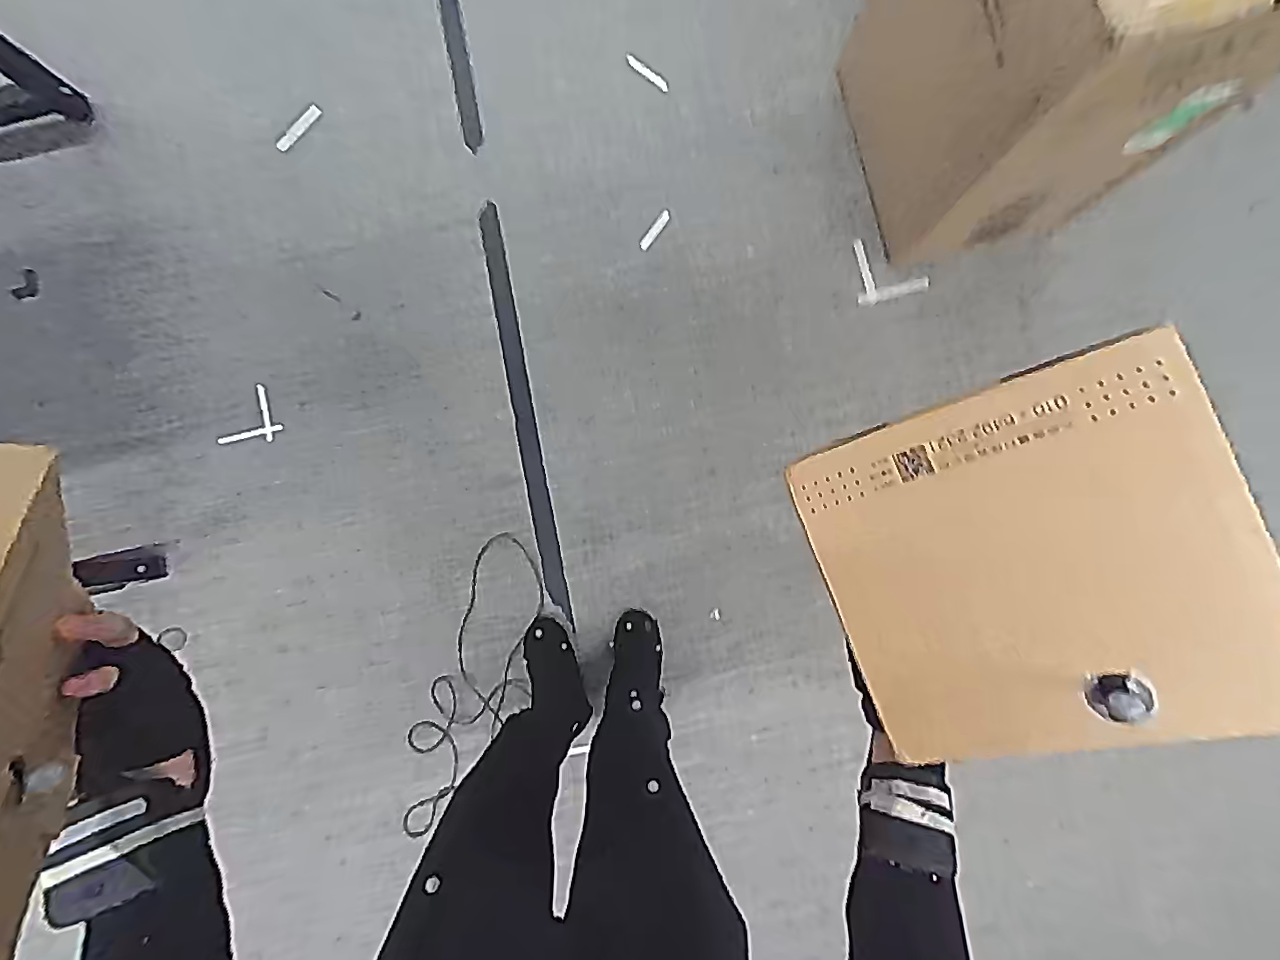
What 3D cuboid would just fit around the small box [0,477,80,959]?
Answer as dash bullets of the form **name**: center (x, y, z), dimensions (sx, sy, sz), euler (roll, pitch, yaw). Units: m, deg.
- **small box**: center (-0.342, 0.092, 0.185), dimensions (0.179, 0.168, 0.176), euler (2, 122, -36)
